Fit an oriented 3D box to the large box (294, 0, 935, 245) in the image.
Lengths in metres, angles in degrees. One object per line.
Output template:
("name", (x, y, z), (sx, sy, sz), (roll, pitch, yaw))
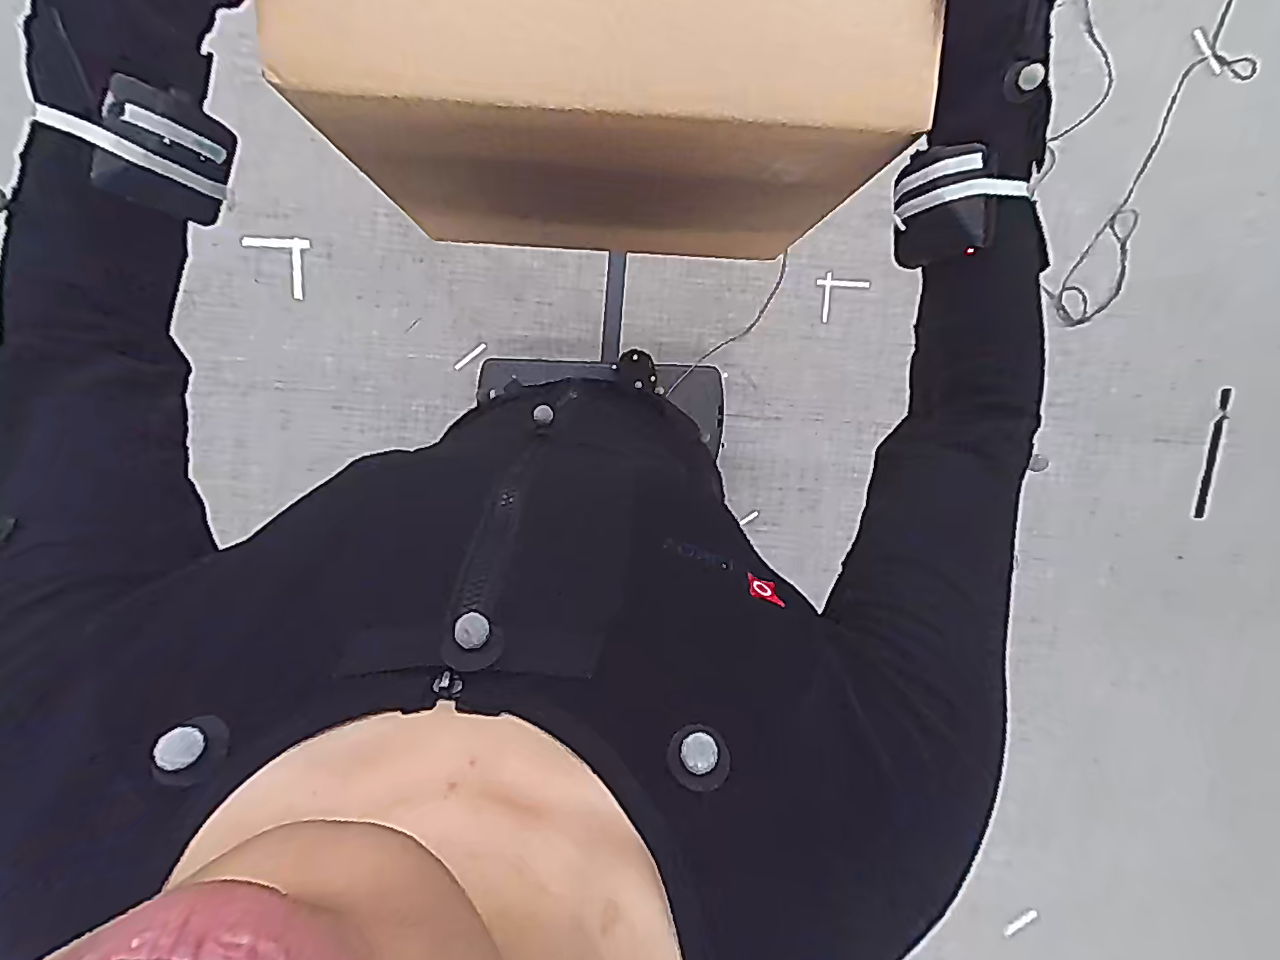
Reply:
("large box", (-0.019, -0.411, 0.467), (0.408, 0.320, 0.320), (1, 99, -5))
